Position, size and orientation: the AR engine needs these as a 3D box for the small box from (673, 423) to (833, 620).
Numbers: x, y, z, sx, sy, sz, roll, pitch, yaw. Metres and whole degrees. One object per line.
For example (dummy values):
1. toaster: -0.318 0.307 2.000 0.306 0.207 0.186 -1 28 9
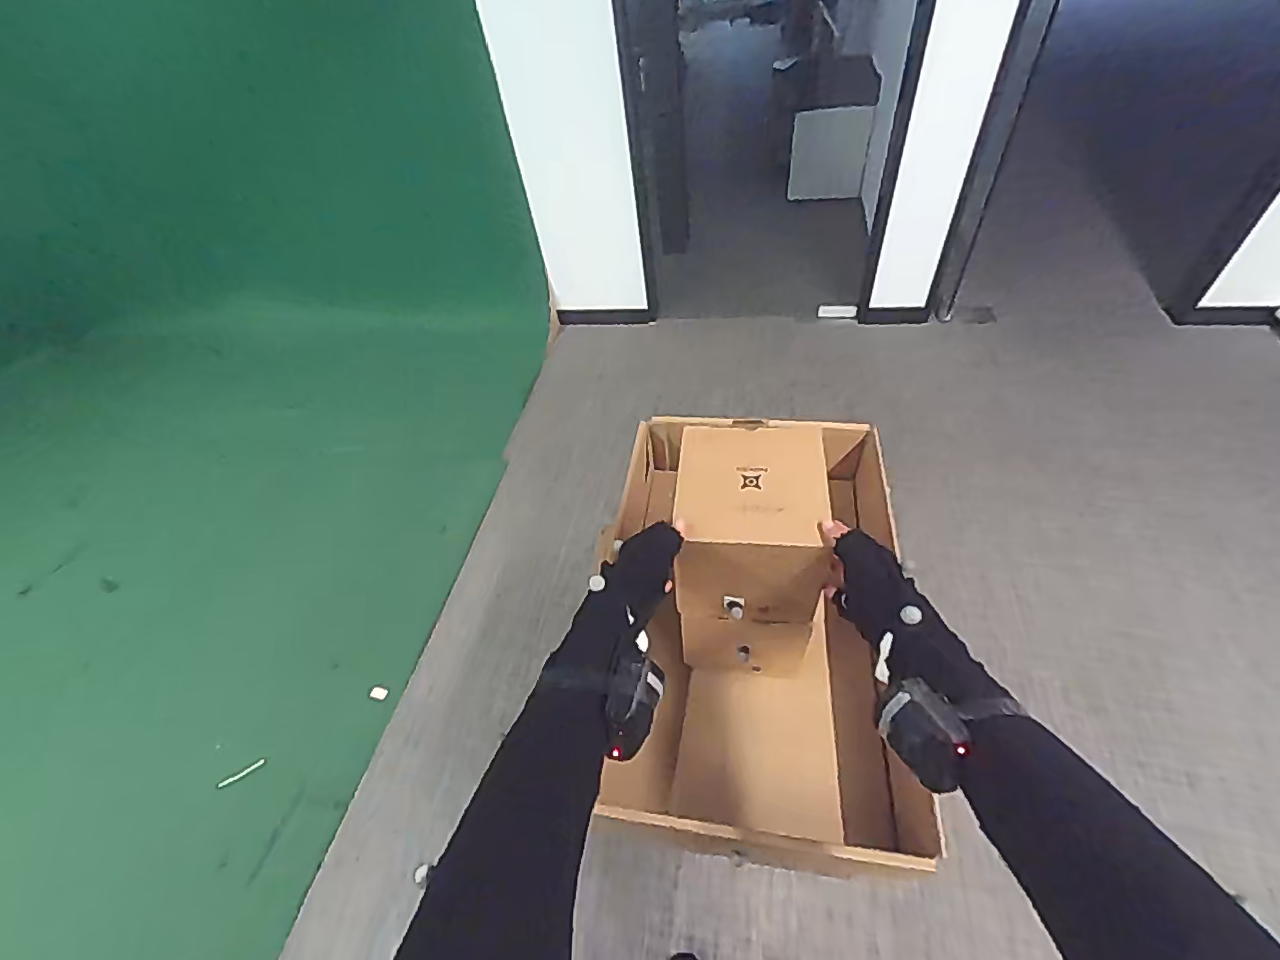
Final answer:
1. small box: 0.132 0.050 0.665 0.168 0.176 0.179 1 50 9
